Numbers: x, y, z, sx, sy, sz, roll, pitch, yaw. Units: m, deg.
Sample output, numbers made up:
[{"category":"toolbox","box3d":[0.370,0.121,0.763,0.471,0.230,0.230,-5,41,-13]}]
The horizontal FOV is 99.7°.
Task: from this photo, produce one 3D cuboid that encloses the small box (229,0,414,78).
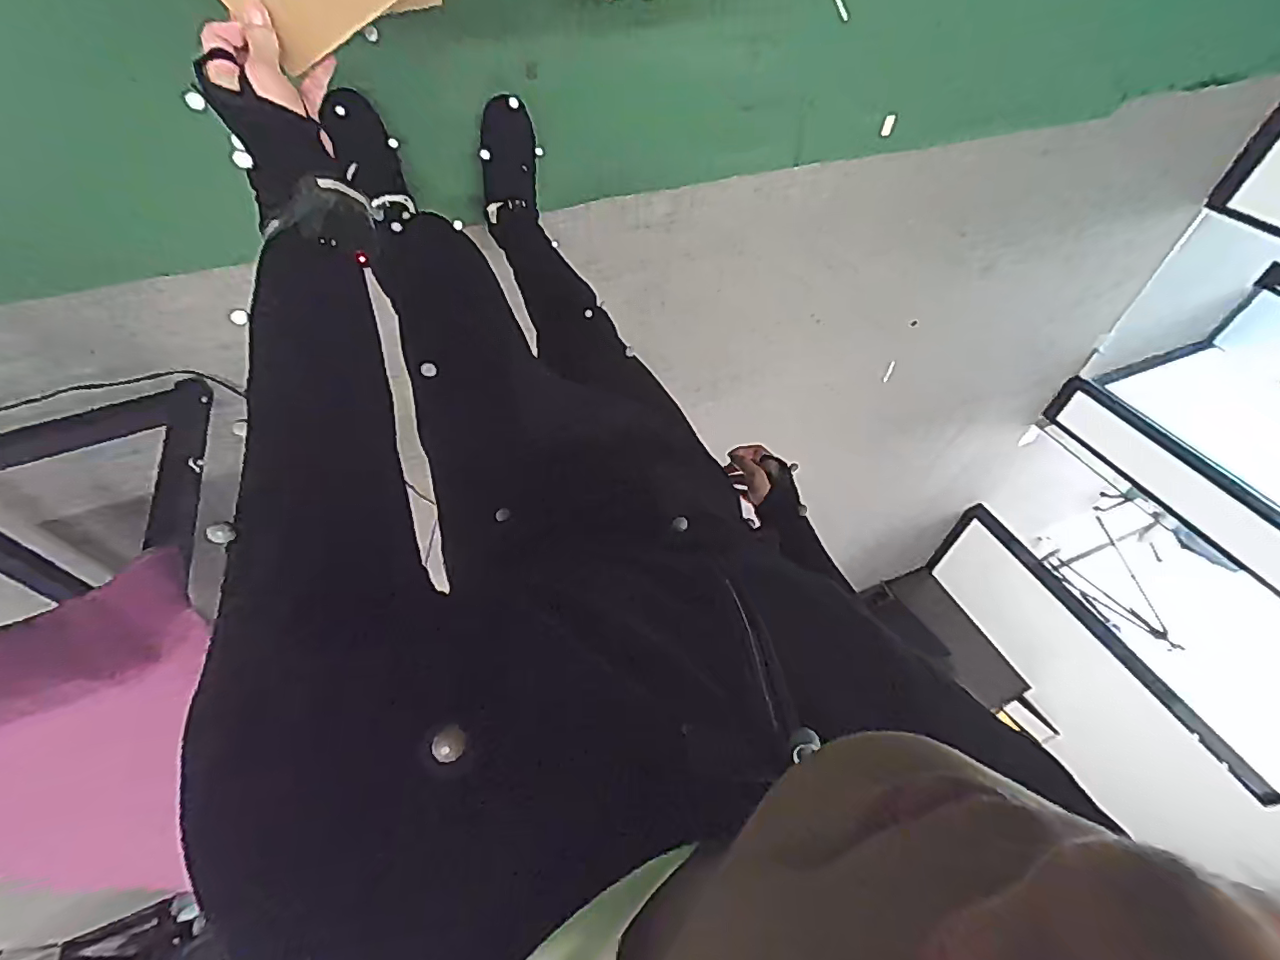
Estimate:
[{"category":"small box","box3d":[-0.303,-0.508,0.484,0.168,0.176,0.179,-27,136,9]}]
